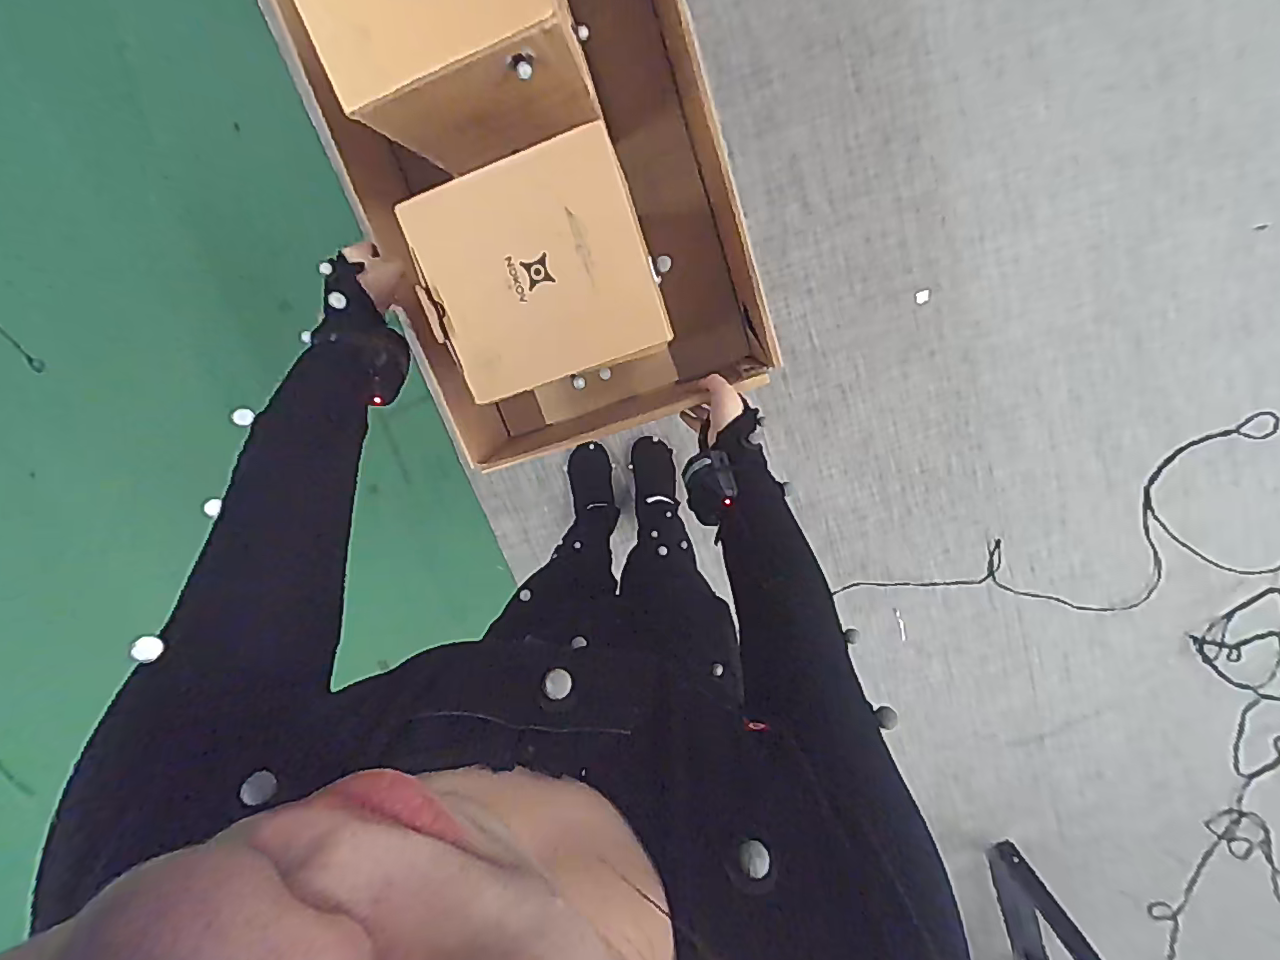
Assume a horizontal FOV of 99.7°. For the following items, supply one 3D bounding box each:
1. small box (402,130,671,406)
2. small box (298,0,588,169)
[{"bbox_3d":[-0.076,-0.180,0.504,0.179,0.176,0.168,-18,104,8],"label":"small box"},{"bbox_3d":[-0.159,-0.391,0.451,0.179,0.176,0.168,-19,106,8],"label":"small box"}]
